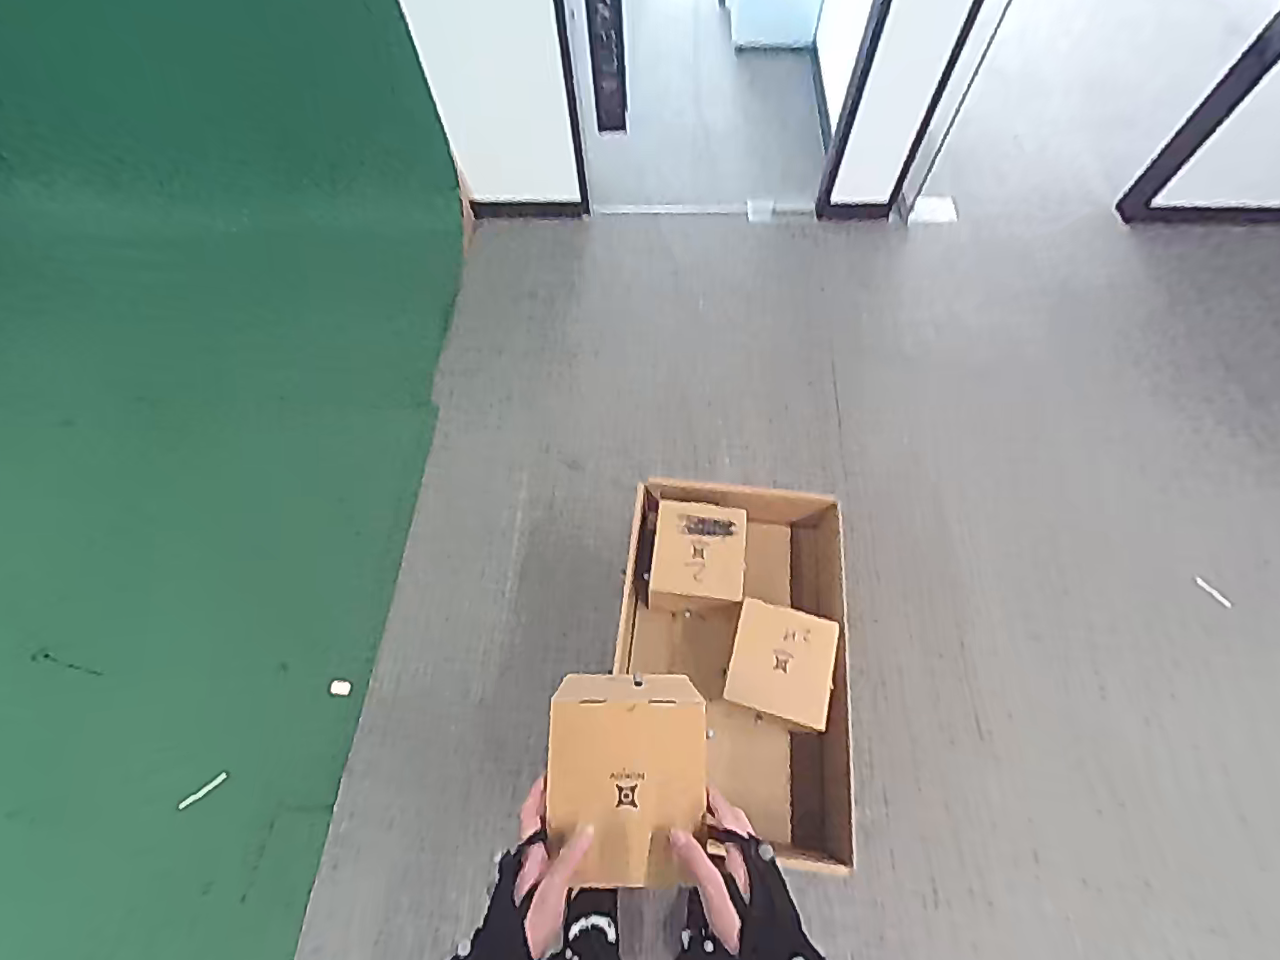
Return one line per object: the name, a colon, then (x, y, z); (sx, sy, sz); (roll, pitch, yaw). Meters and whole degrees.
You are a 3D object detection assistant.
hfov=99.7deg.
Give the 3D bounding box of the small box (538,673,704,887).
small box: (-0.018, 0.326, 0.620); (0.168, 0.176, 0.179); (0, 78, -1)
